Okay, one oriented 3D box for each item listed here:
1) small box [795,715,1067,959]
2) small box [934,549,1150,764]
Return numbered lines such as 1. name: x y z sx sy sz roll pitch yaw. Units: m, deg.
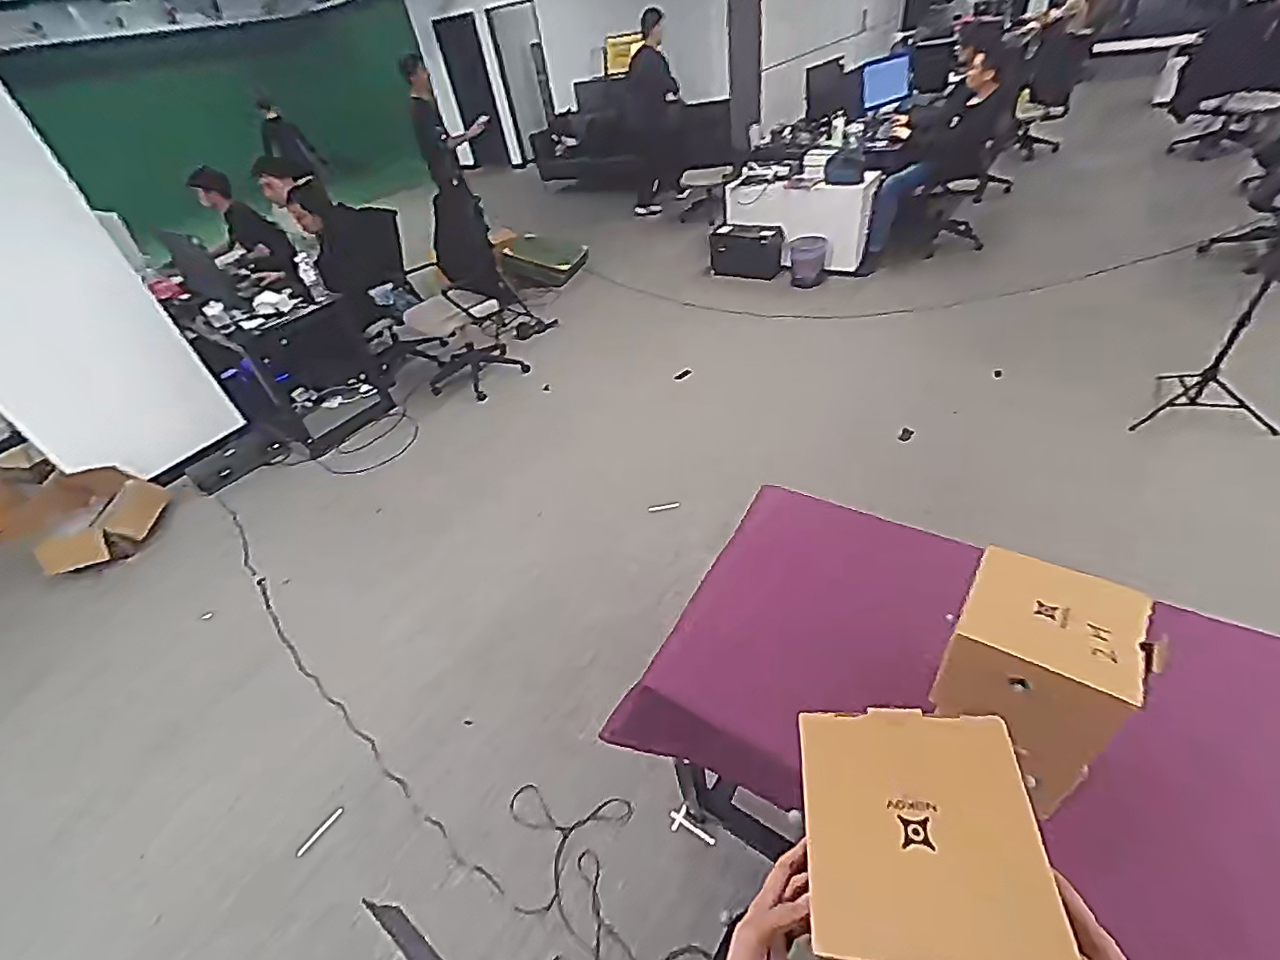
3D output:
1. small box: 0.231 0.327 0.465 0.168 0.176 0.179 -7 39 18
2. small box: 0.503 0.225 0.695 0.179 0.176 0.168 21 49 32
